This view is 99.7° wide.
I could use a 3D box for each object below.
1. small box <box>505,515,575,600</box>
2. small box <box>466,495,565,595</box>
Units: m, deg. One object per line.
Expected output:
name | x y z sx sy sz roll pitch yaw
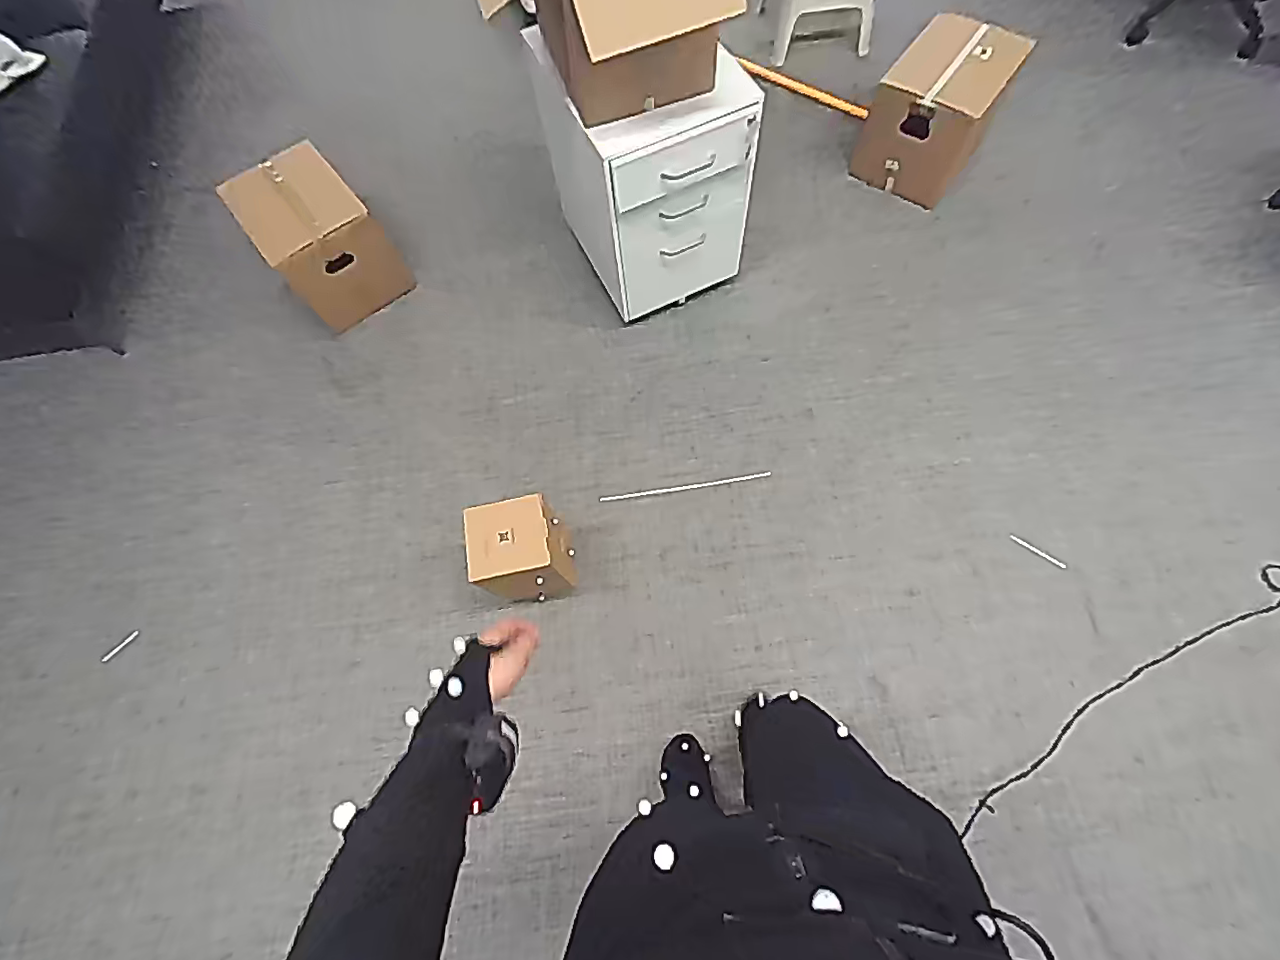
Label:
small box | -0.266 0.202 1.384 0.179 0.176 0.168 -10 68 0
small box | -0.275 0.152 1.228 0.179 0.176 0.168 -13 67 1
